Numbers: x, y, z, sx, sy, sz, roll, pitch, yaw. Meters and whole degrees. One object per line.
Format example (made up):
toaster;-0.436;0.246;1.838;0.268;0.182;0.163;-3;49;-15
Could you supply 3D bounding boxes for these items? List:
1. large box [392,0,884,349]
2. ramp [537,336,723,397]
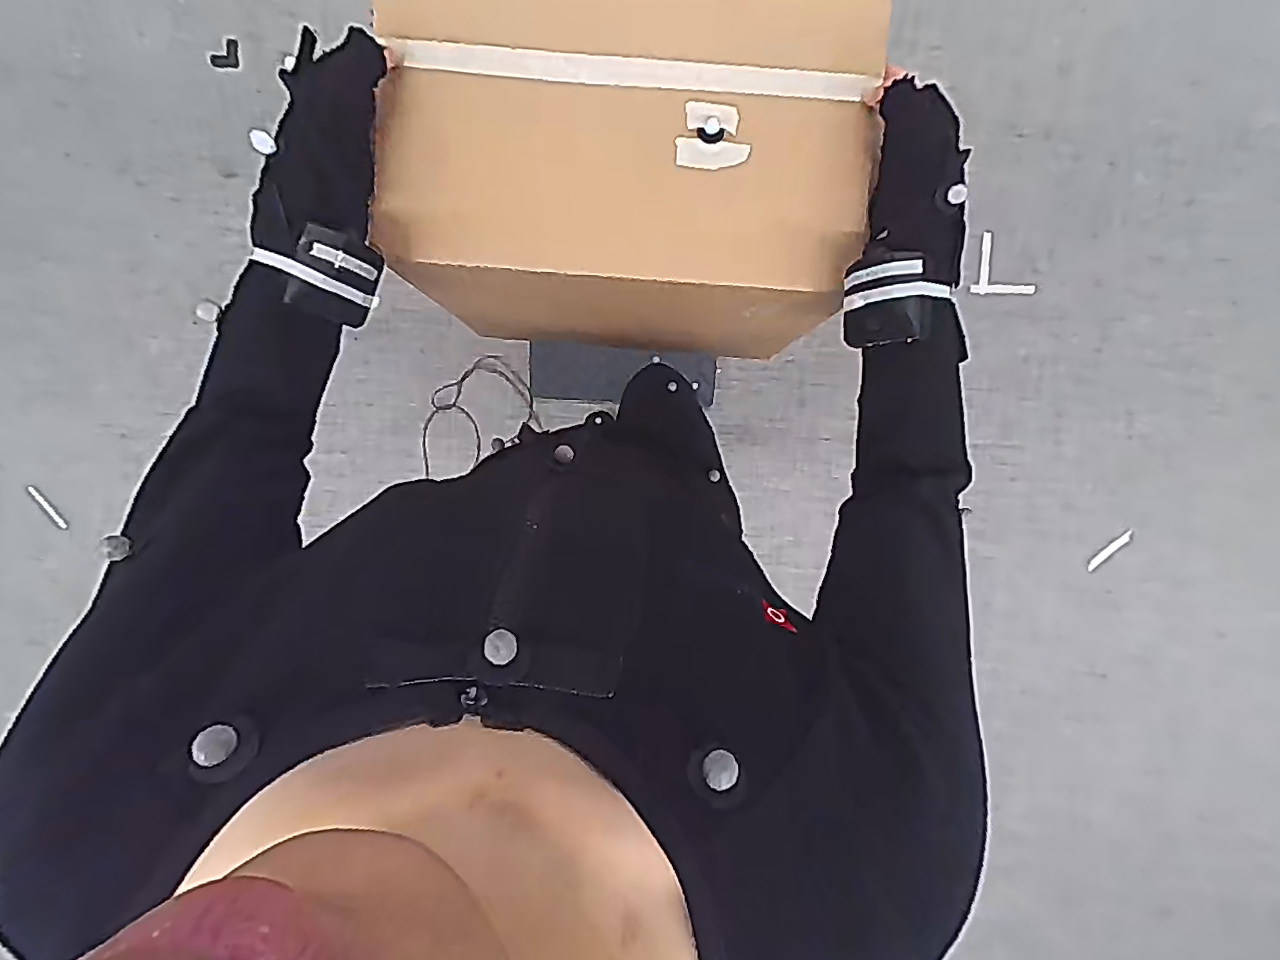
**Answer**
large box;-0.004;-0.337;0.594;0.408;0.320;0.320;4;93;-1
ramp;-0.008;-0.710;1.320;0.509;0.206;0.991;1;96;-1
